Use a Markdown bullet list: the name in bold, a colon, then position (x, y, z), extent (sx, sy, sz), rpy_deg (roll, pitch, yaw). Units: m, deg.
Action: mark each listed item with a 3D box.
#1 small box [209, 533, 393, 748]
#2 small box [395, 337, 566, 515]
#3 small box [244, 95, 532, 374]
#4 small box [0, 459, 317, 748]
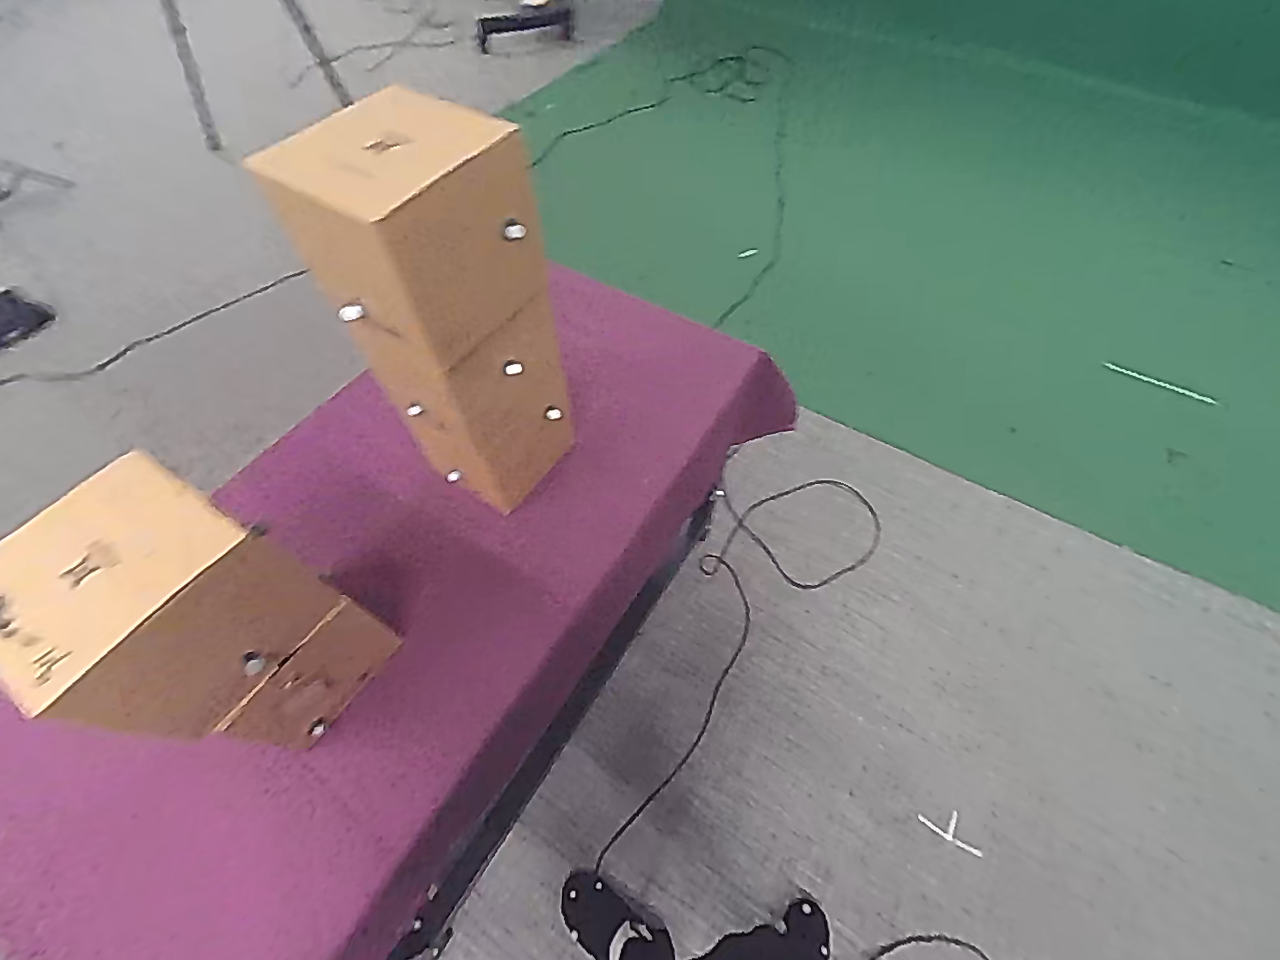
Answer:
- **small box**: position (-0.439, 0.200, 0.654), extent (0.179, 0.176, 0.168), rpy_deg (28, 61, 17)
- **small box**: position (-0.228, -0.081, 0.830), extent (0.168, 0.176, 0.179), rpy_deg (29, 62, 18)
- **small box**: position (-0.227, -0.242, 0.544), extent (0.168, 0.176, 0.179), rpy_deg (28, 62, 18)
- **small box**: position (-0.445, 0.119, 0.509), extent (0.168, 0.176, 0.179), rpy_deg (29, 61, 18)
